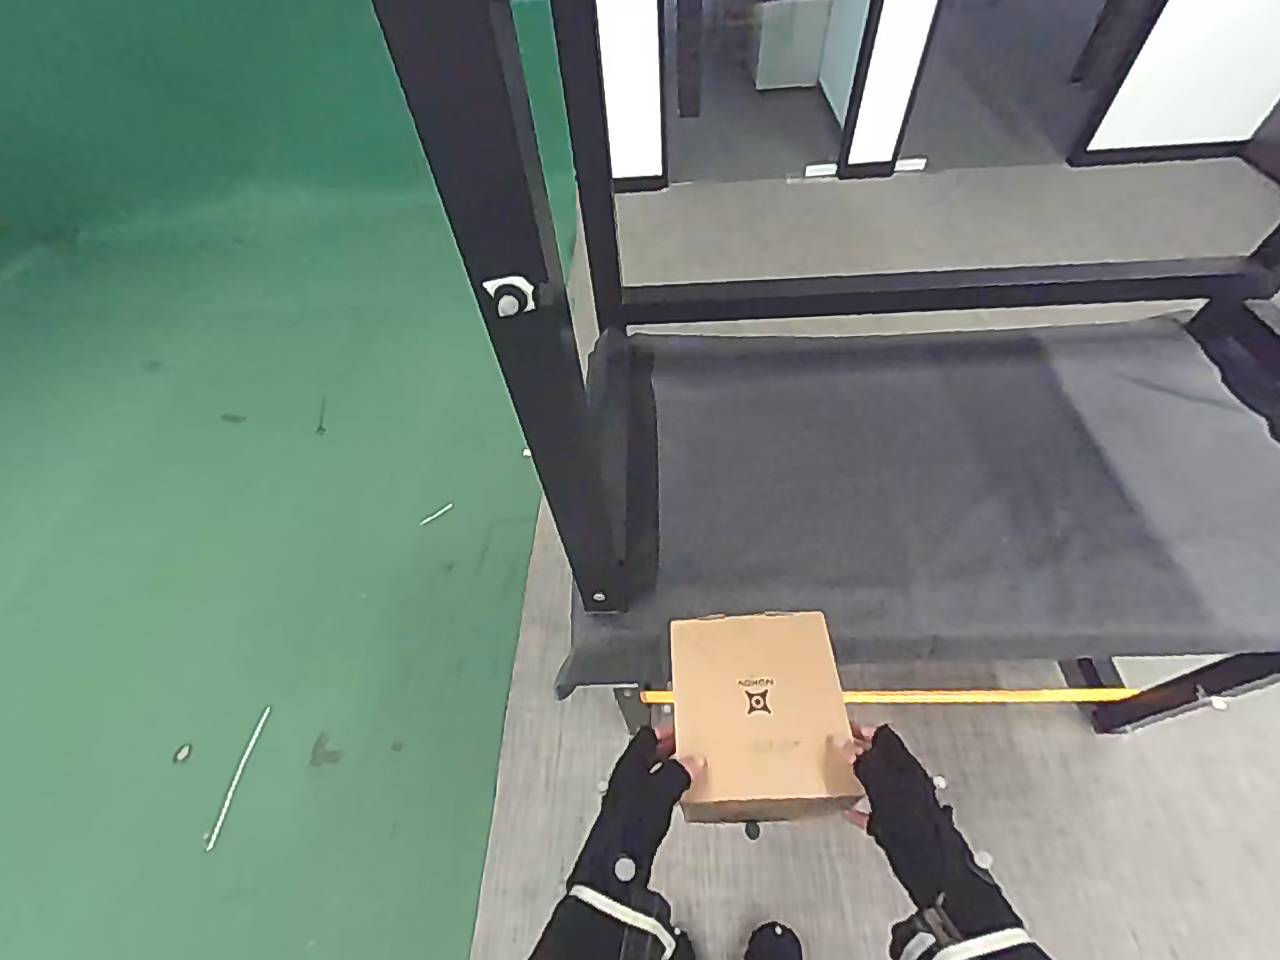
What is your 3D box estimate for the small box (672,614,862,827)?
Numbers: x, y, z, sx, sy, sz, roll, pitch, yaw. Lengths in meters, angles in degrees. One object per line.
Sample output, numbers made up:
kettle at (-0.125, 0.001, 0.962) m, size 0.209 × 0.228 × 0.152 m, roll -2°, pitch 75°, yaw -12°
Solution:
small box at (0.124, 0.268, 0.597) m, size 0.168 × 0.176 × 0.179 m, roll -6°, pitch 51°, yaw 5°
